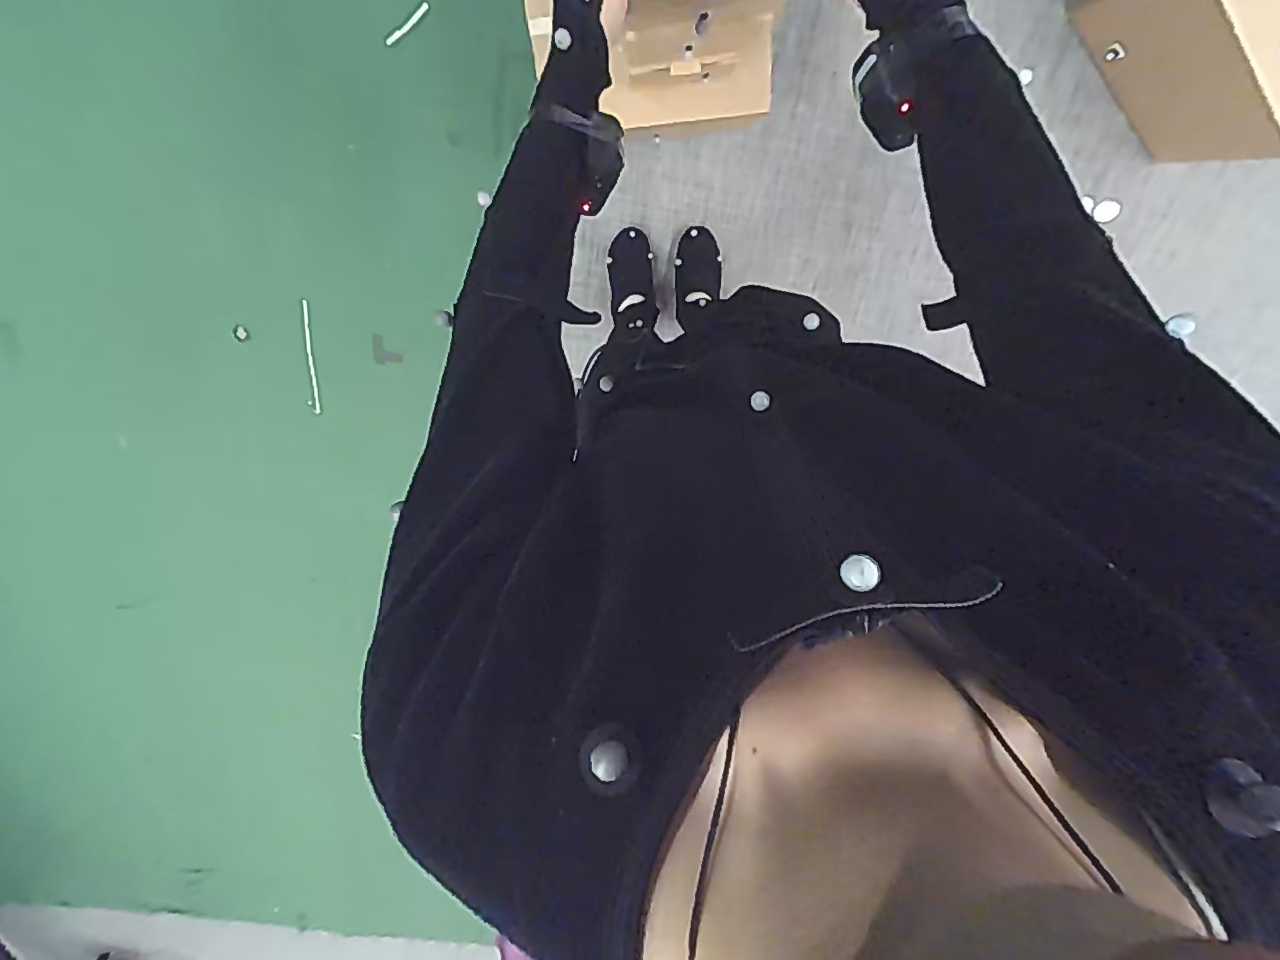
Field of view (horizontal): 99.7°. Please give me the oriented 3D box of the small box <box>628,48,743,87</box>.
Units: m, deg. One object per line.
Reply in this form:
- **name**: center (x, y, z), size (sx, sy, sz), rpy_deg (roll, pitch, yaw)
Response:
- **small box**: center (0.062, -0.705, 0.805), size (0.168, 0.176, 0.179), rpy_deg (-4, 118, 3)

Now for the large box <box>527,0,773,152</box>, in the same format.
- **large box**: center (0.025, -0.828, 1.018), size (0.408, 0.320, 0.320), rpy_deg (-4, 117, 5)

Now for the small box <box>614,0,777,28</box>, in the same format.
- **small box**: center (0.056, -0.538, 0.492), size (0.179, 0.176, 0.168), rpy_deg (-4, 121, 5)

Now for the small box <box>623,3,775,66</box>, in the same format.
- **small box**: center (0.061, -0.630, 0.659), size (0.179, 0.176, 0.168), rpy_deg (-5, 118, 4)
